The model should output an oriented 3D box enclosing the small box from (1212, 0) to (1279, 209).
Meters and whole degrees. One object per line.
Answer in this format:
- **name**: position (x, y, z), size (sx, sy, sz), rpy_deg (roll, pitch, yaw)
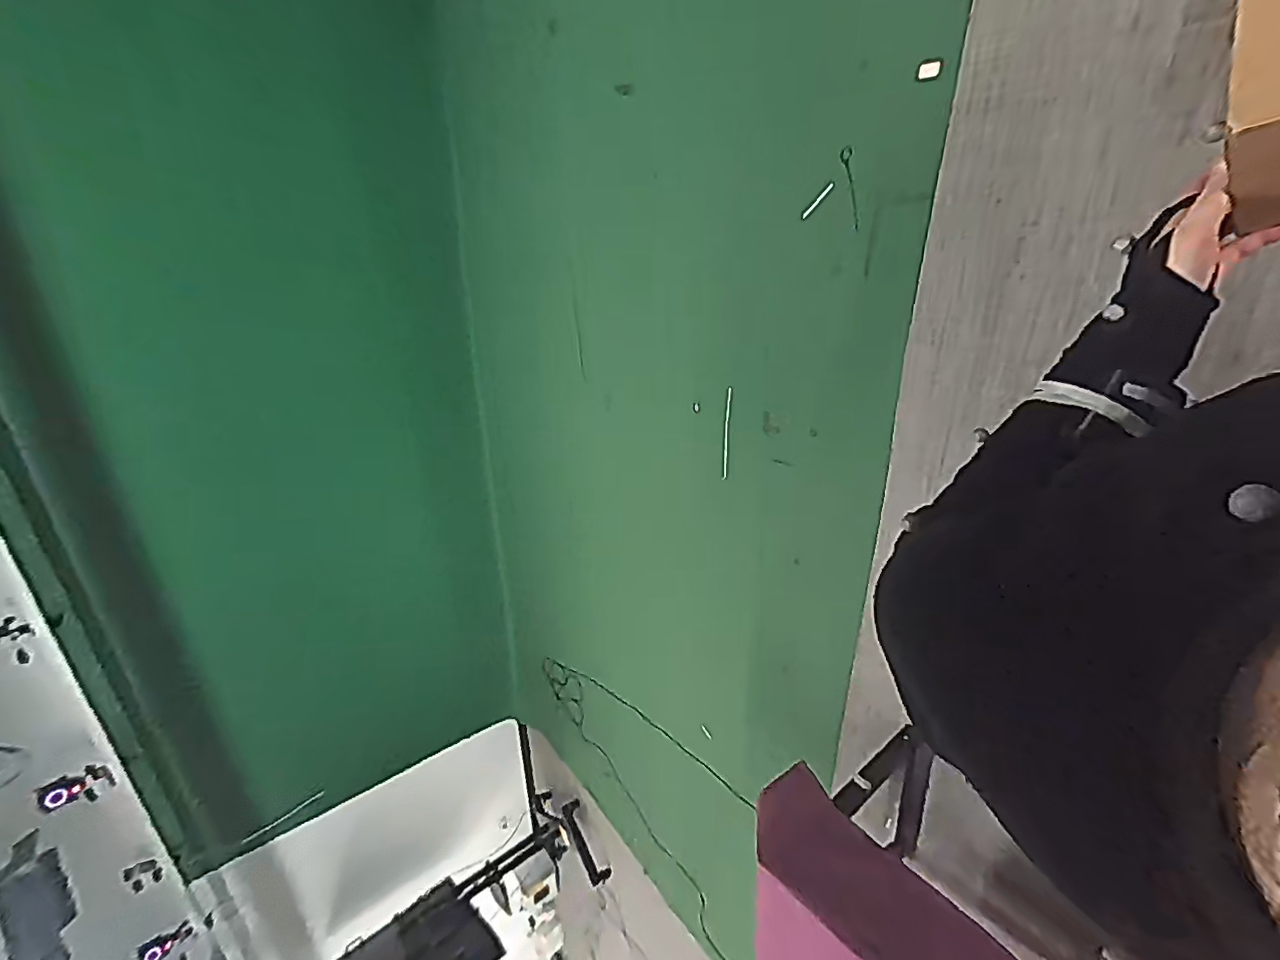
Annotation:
- **small box**: position (0.467, -0.285, 0.315), size (0.168, 0.176, 0.179), rpy_deg (7, 91, 48)
